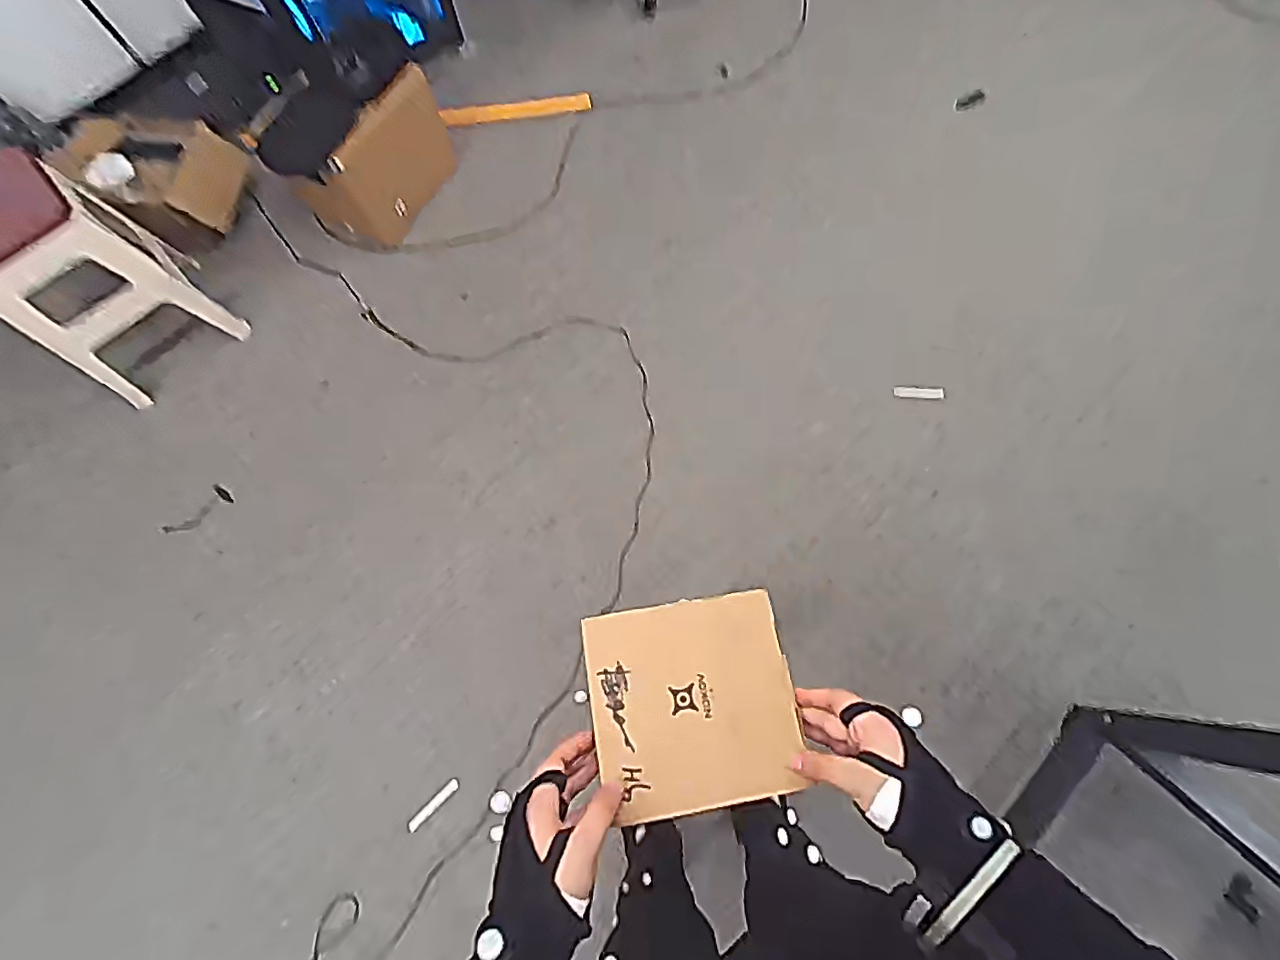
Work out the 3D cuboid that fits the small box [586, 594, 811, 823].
[{"bbox_3d":[0.043,0.223,0.548,0.179,0.176,0.168,-8,67,-6],"label":"small box"}]
